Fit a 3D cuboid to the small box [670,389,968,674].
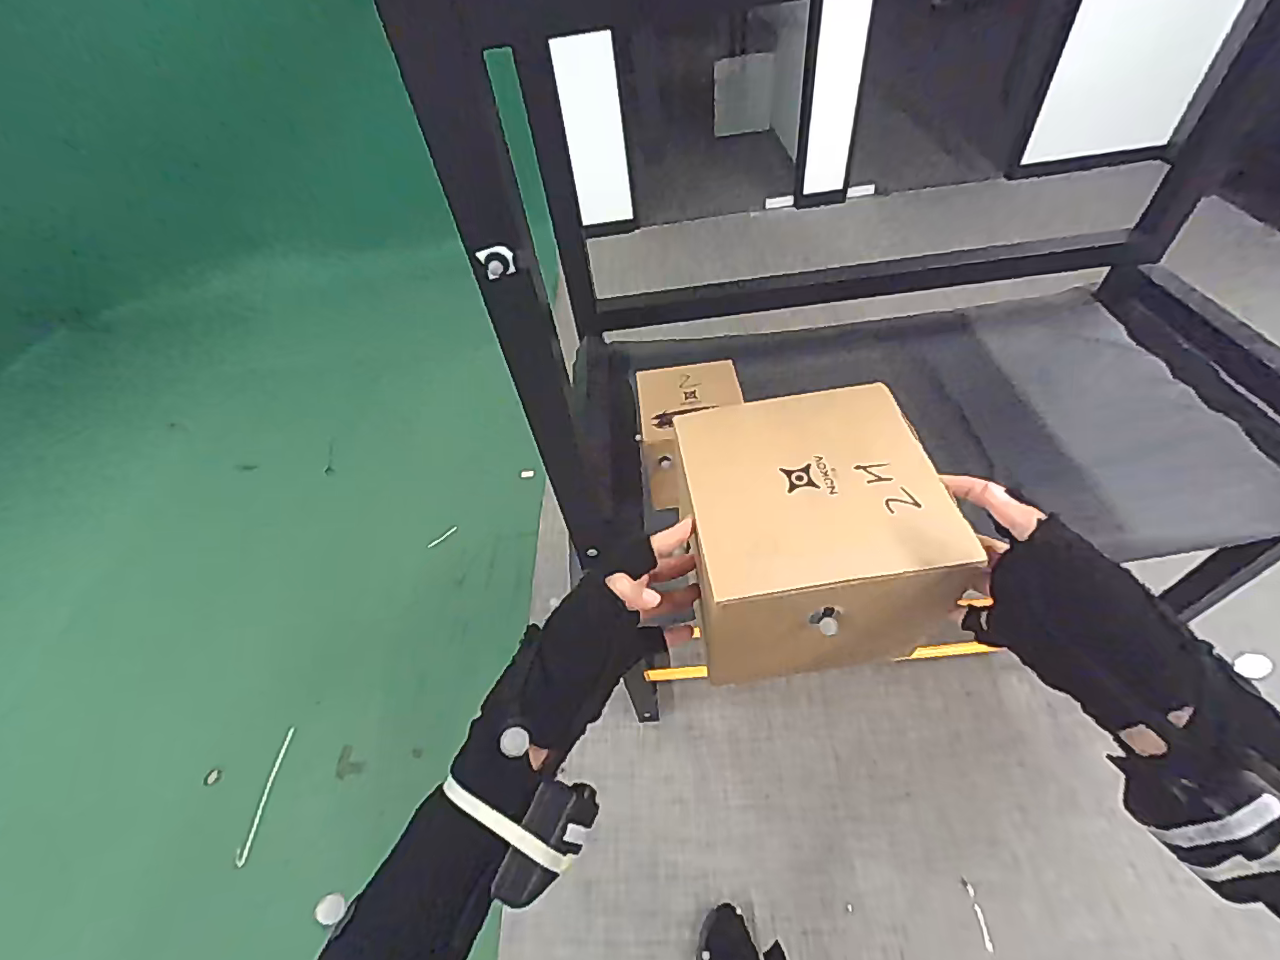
[{"bbox_3d":[0.127,0.050,0.459,0.179,0.176,0.168,-9,51,0],"label":"small box"}]
